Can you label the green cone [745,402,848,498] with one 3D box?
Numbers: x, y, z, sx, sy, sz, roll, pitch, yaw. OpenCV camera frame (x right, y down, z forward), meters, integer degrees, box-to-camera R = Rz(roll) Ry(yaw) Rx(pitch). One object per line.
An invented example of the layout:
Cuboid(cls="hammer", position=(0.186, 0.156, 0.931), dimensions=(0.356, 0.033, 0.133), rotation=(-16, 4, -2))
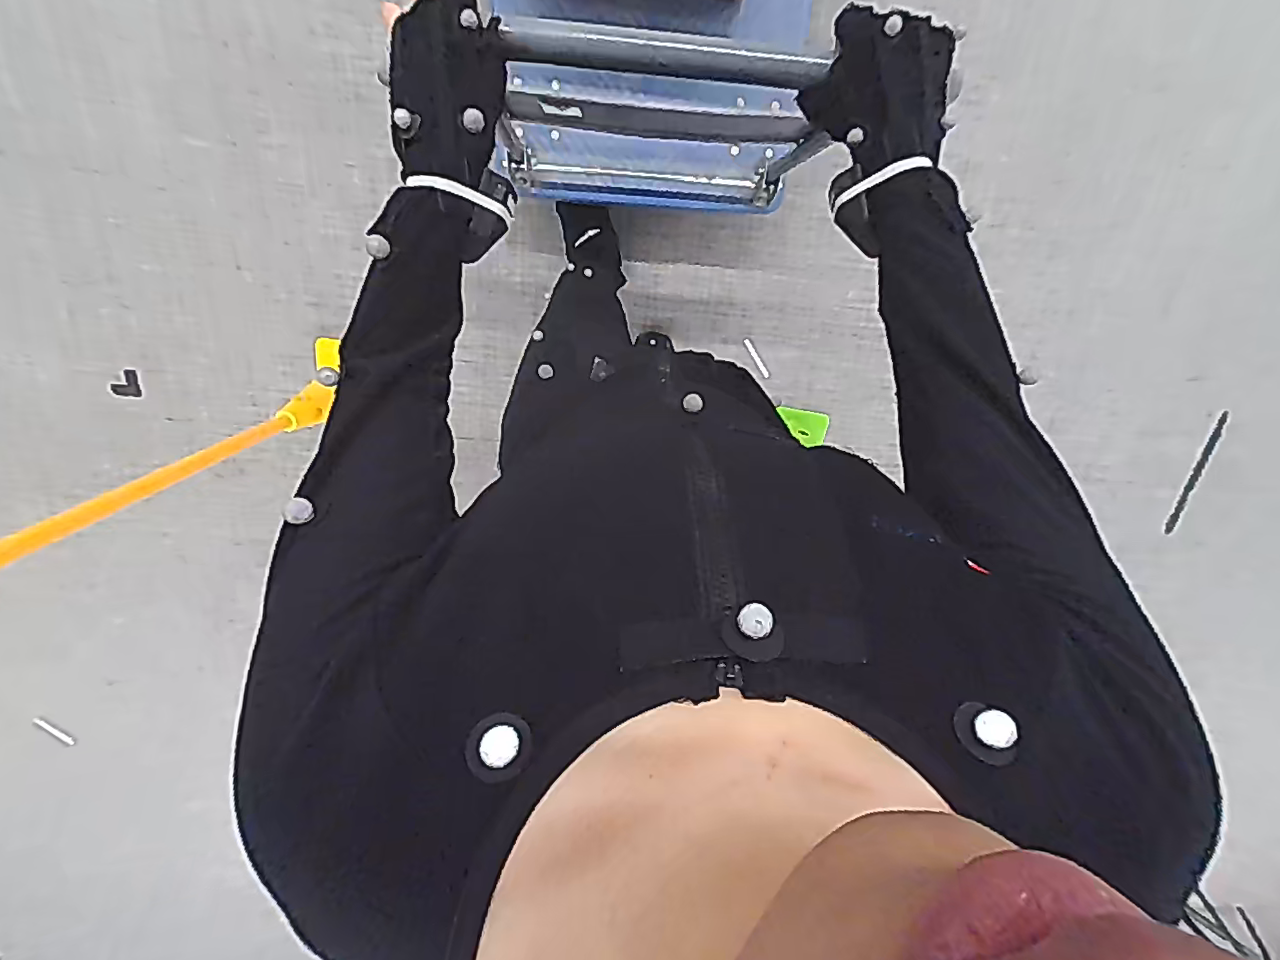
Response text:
Cuboid(cls="green cone", position=(0.417, -0.044, 1.345), dimensions=(0.202, 0.368, 0.200), rotation=(7, 112, -8))
